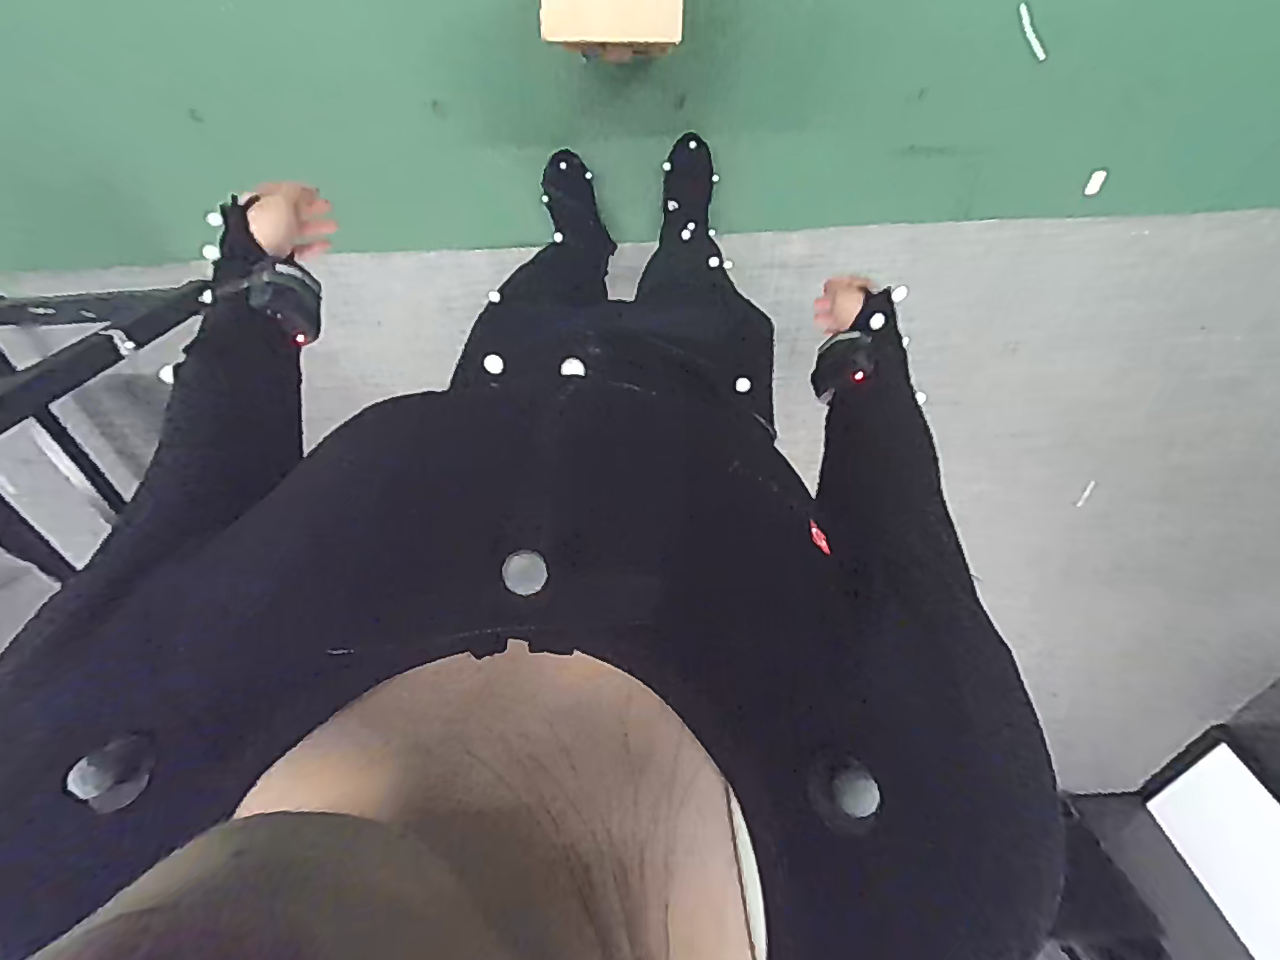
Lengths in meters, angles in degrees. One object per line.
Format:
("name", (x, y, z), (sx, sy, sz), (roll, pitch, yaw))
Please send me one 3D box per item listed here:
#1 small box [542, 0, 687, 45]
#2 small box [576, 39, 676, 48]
("small box", (-0.030, -0.658, 0.680), (0.179, 0.176, 0.168), (0, 128, -1))
("small box", (-0.027, -0.860, 0.939), (0.179, 0.176, 0.168), (0, 129, -2))
